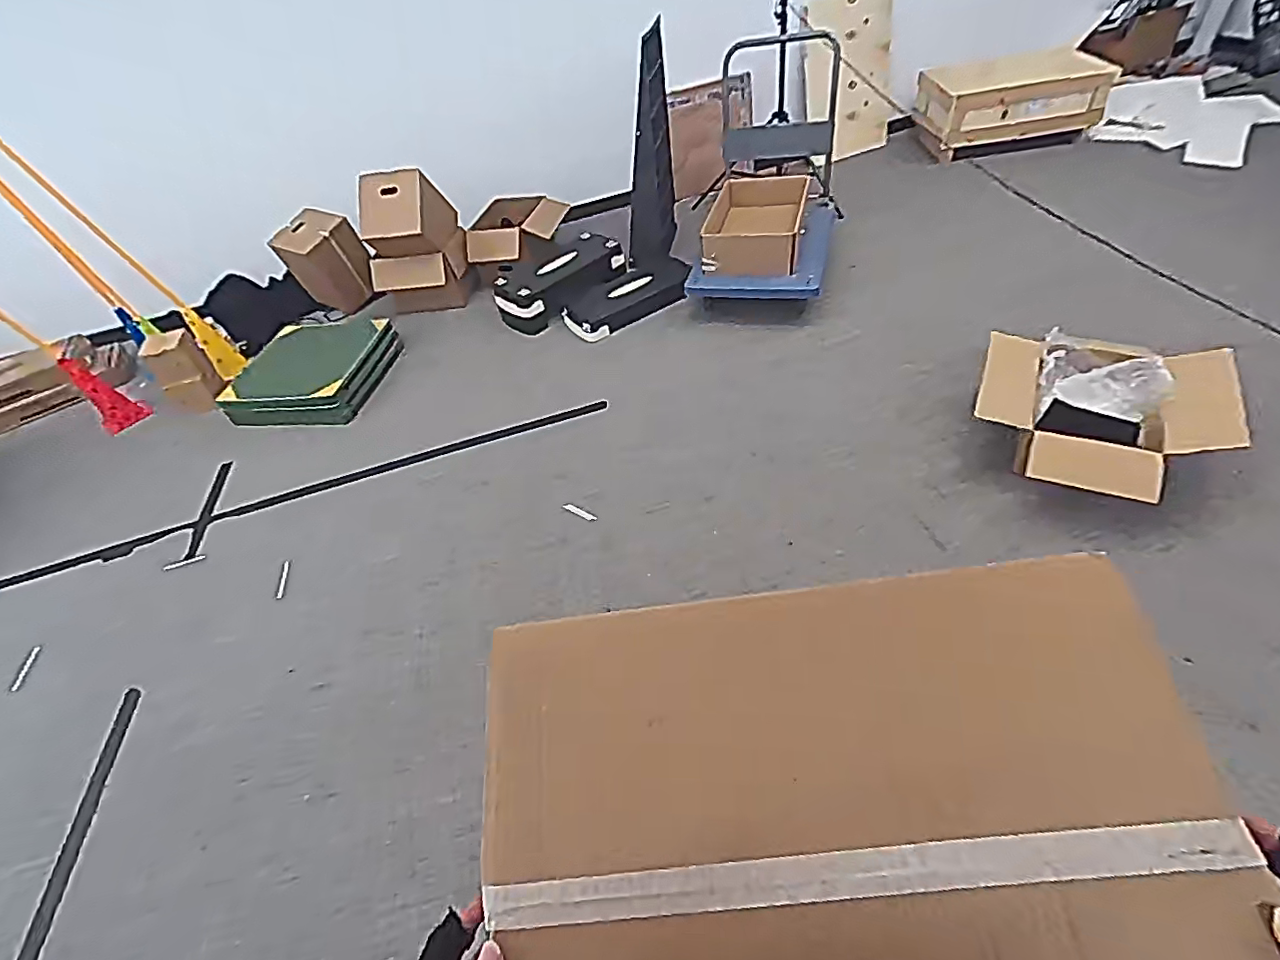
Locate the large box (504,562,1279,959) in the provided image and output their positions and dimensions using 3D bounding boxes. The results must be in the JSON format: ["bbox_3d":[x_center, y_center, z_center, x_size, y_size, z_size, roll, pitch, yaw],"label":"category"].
[{"bbox_3d":[0.134,0.283,0.439,0.408,0.320,0.320,-9,66,5],"label":"large box"}]
